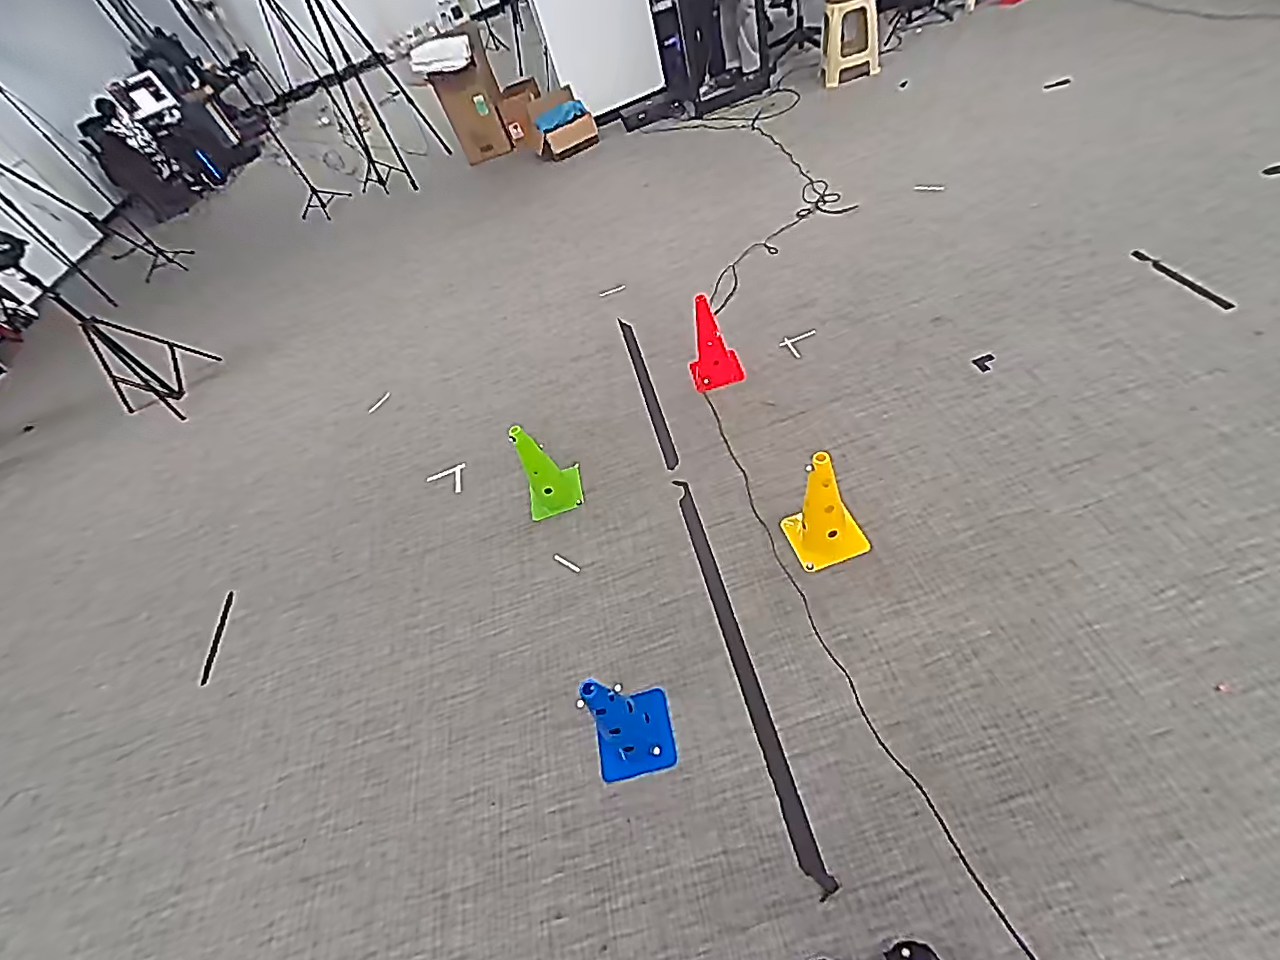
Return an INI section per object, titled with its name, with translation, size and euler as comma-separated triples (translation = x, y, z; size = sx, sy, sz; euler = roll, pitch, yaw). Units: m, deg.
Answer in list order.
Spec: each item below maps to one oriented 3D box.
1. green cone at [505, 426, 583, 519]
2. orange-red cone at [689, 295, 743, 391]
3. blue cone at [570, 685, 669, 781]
[green cone]
translation = -0.366, -0.061, 1.893
size = 0.202, 0.368, 0.200
euler = -20, 48, 5
[orange-red cone]
translation = 0.262, -0.548, 2.070
size = 0.199, 0.360, 0.198
euler = -15, 50, 6
[blue cone]
translation = -0.070, 0.564, 1.287
size = 0.192, 0.380, 0.193
euler = -17, 48, 7
